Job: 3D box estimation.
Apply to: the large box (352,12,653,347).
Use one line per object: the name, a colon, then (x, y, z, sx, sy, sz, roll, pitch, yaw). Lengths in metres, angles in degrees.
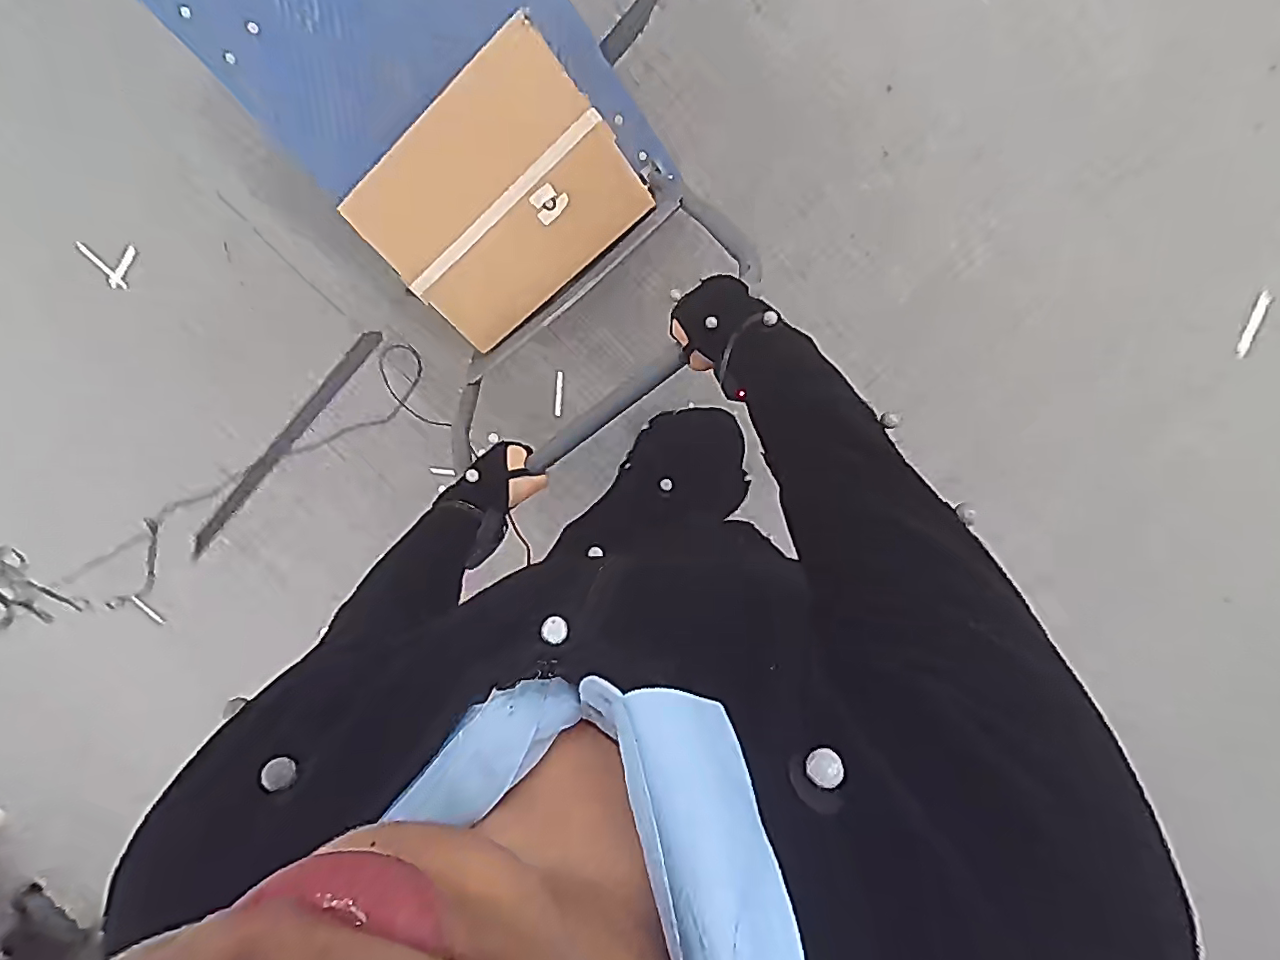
large box: (-0.237, -0.529, 1.009, 0.408, 0.320, 0.320, -37, 120, 14)
